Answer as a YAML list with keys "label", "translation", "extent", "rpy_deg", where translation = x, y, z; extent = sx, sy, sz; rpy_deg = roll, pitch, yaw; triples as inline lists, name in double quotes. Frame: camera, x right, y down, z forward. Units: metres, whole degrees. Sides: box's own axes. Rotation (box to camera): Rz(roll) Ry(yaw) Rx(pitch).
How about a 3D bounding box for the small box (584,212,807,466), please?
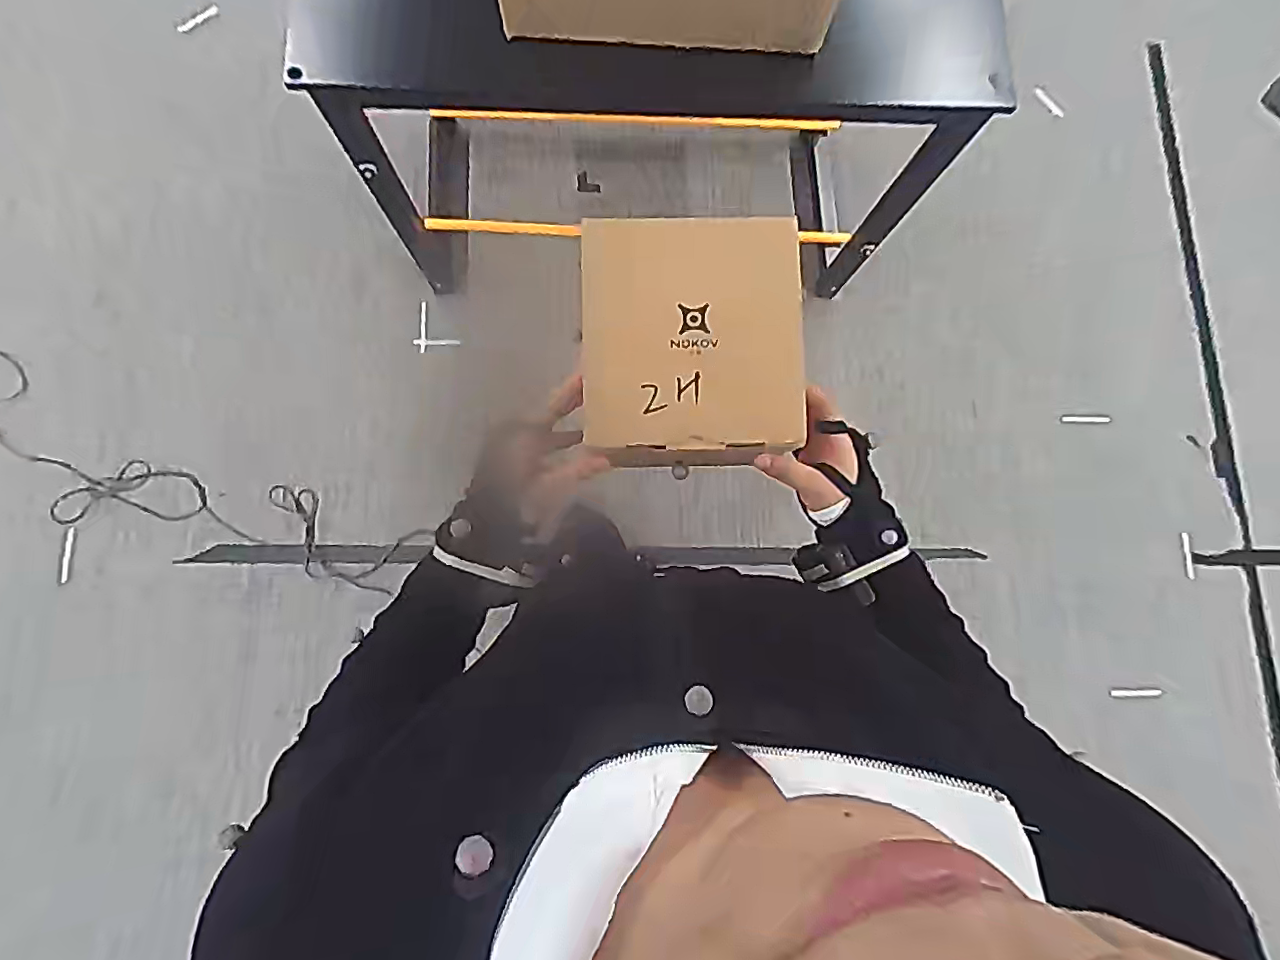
- label: "small box"
  translation: [0.038, -0.109, 0.480]
  extent: [0.168, 0.176, 0.179]
  rpy_deg: [-1, 85, -1]
